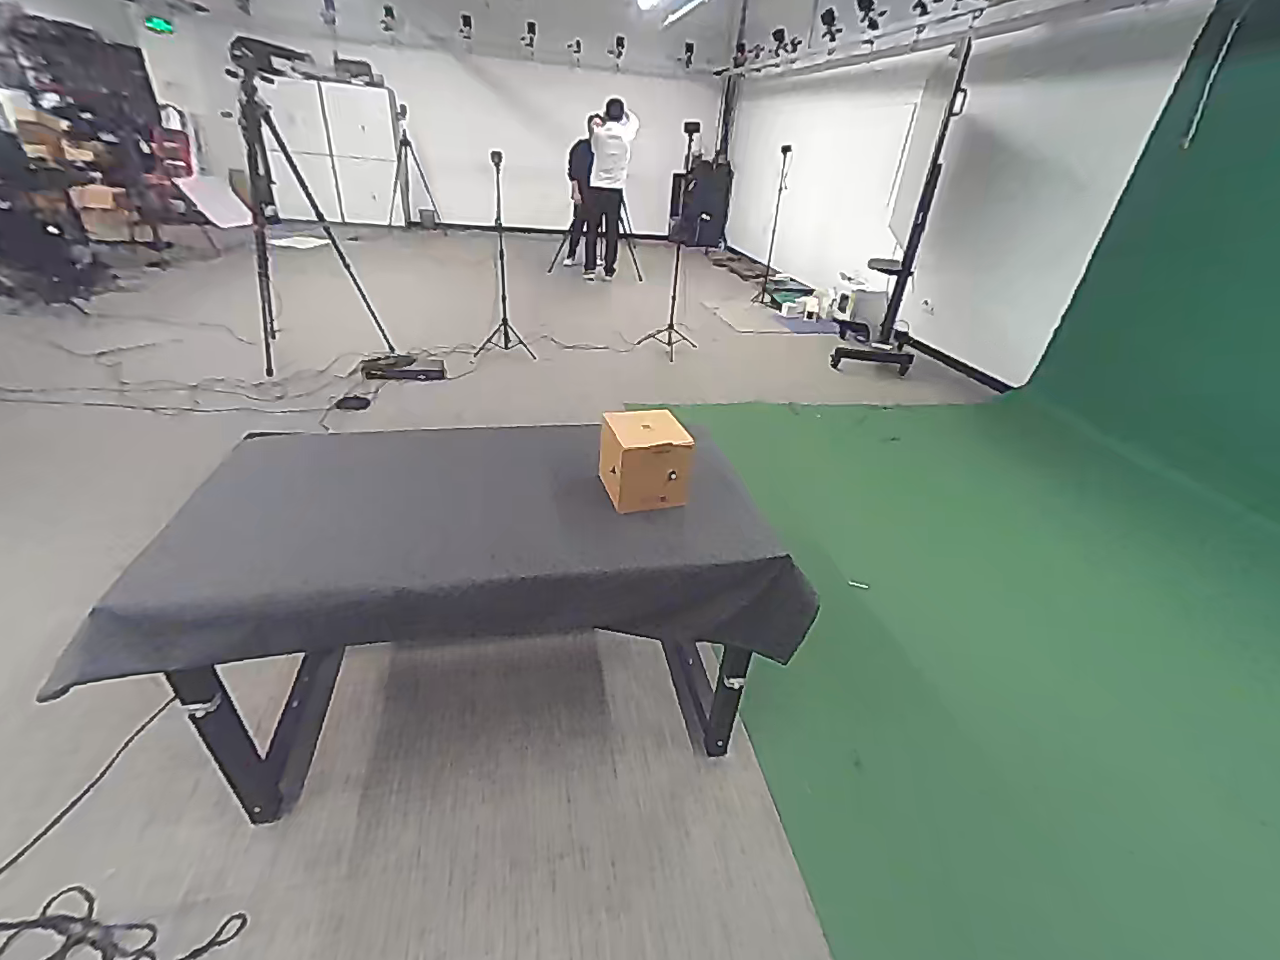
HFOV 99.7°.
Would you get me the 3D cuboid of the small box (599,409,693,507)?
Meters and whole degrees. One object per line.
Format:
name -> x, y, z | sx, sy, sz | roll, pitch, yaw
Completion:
small box -> 0.007, -0.048, 1.235 | 0.168, 0.176, 0.179 | -5, 32, -19
